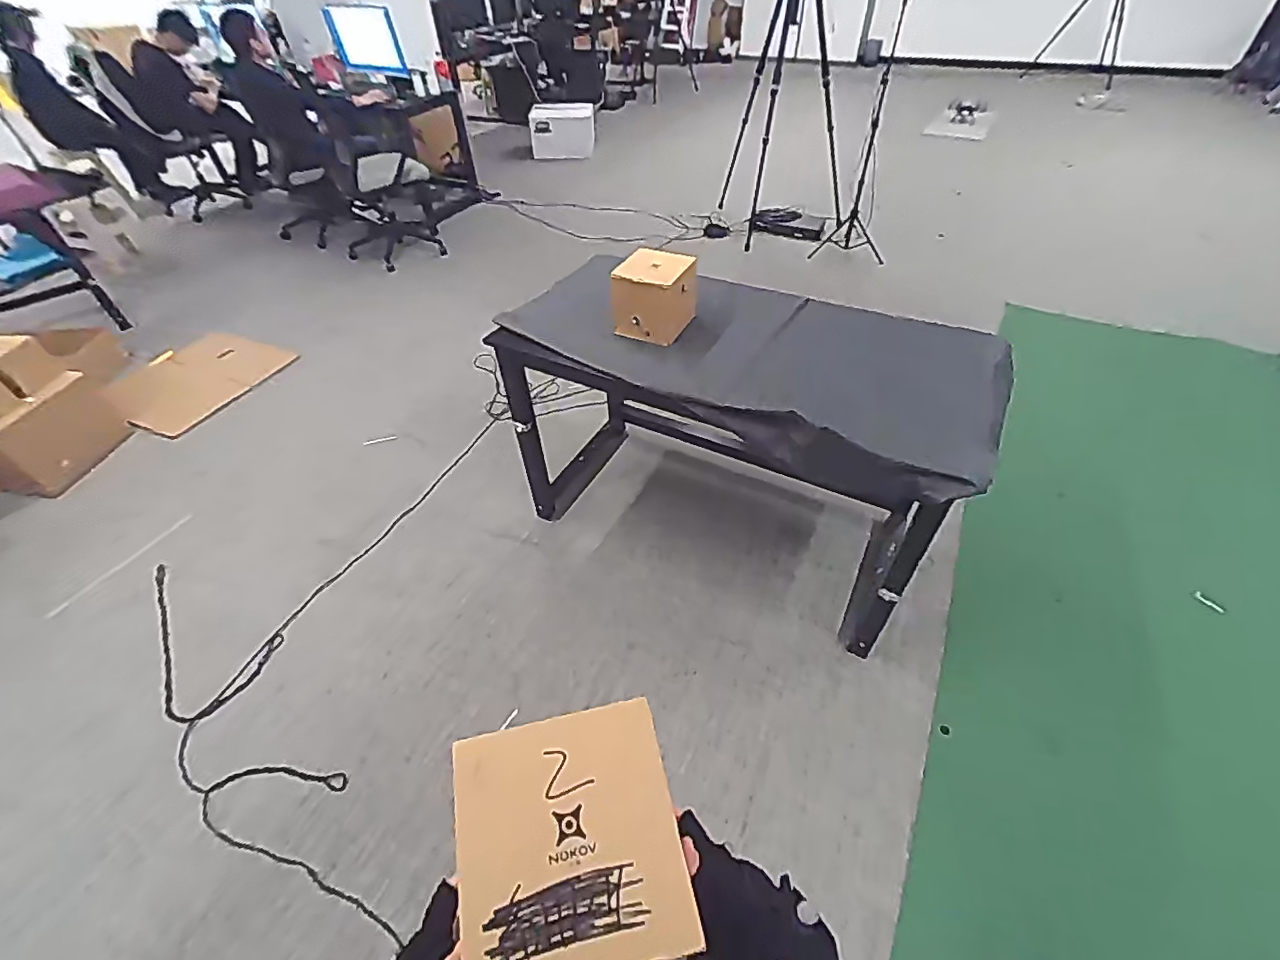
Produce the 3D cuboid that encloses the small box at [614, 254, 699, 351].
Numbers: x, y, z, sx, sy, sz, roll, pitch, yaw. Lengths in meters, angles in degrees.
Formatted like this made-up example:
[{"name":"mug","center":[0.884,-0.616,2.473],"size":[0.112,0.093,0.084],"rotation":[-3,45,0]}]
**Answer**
[{"name":"small box","center":[0.044,-0.472,1.434],"size":[0.168,0.176,0.179],"rotation":[19,49,19]}]
